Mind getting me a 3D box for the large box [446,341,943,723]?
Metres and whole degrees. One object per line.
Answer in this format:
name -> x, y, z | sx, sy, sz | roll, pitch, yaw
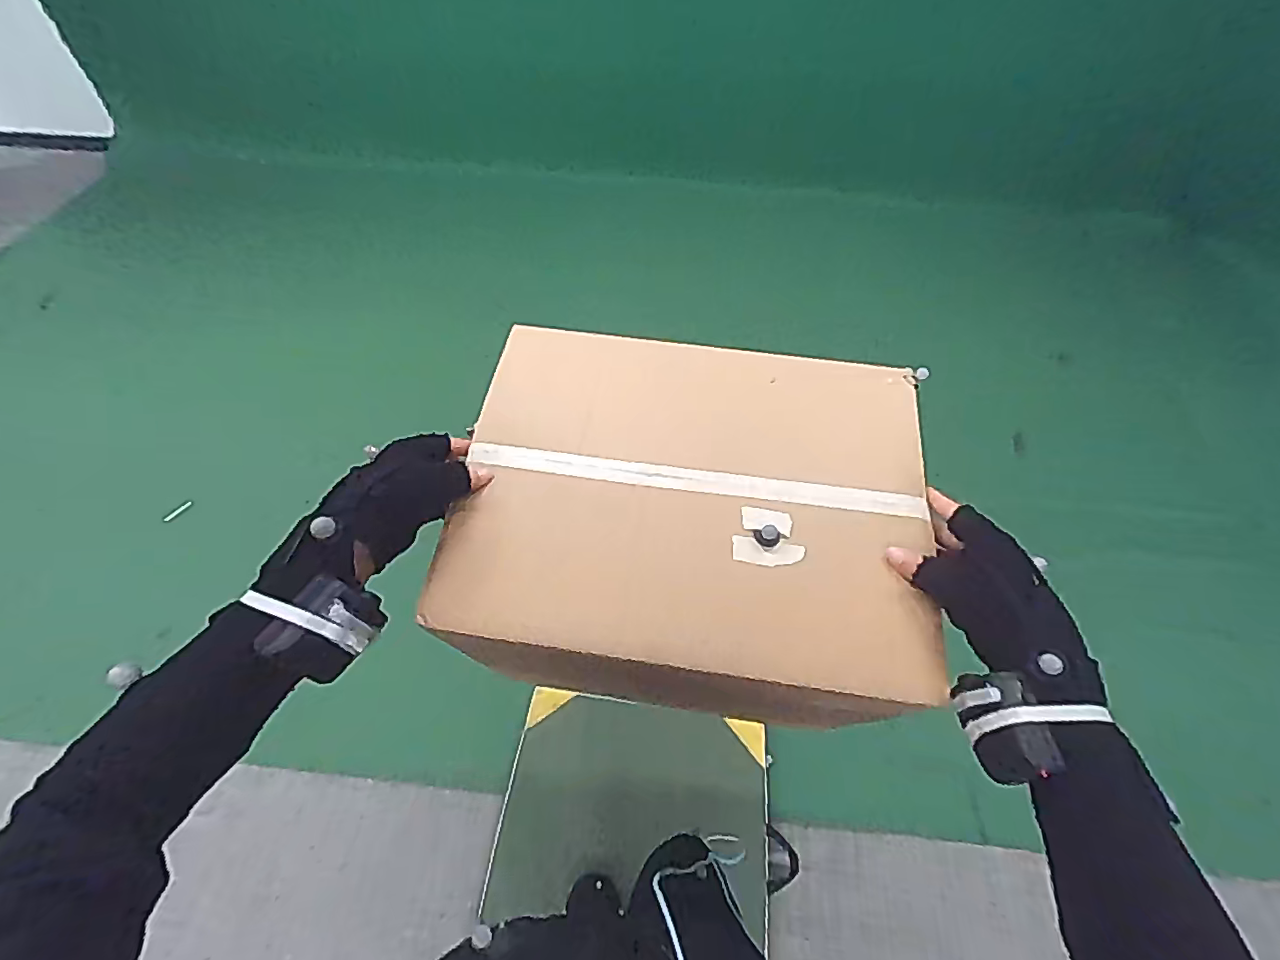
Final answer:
large box -> 0.054, 0.077, 0.624 | 0.408, 0.320, 0.320 | 8, 63, 4
